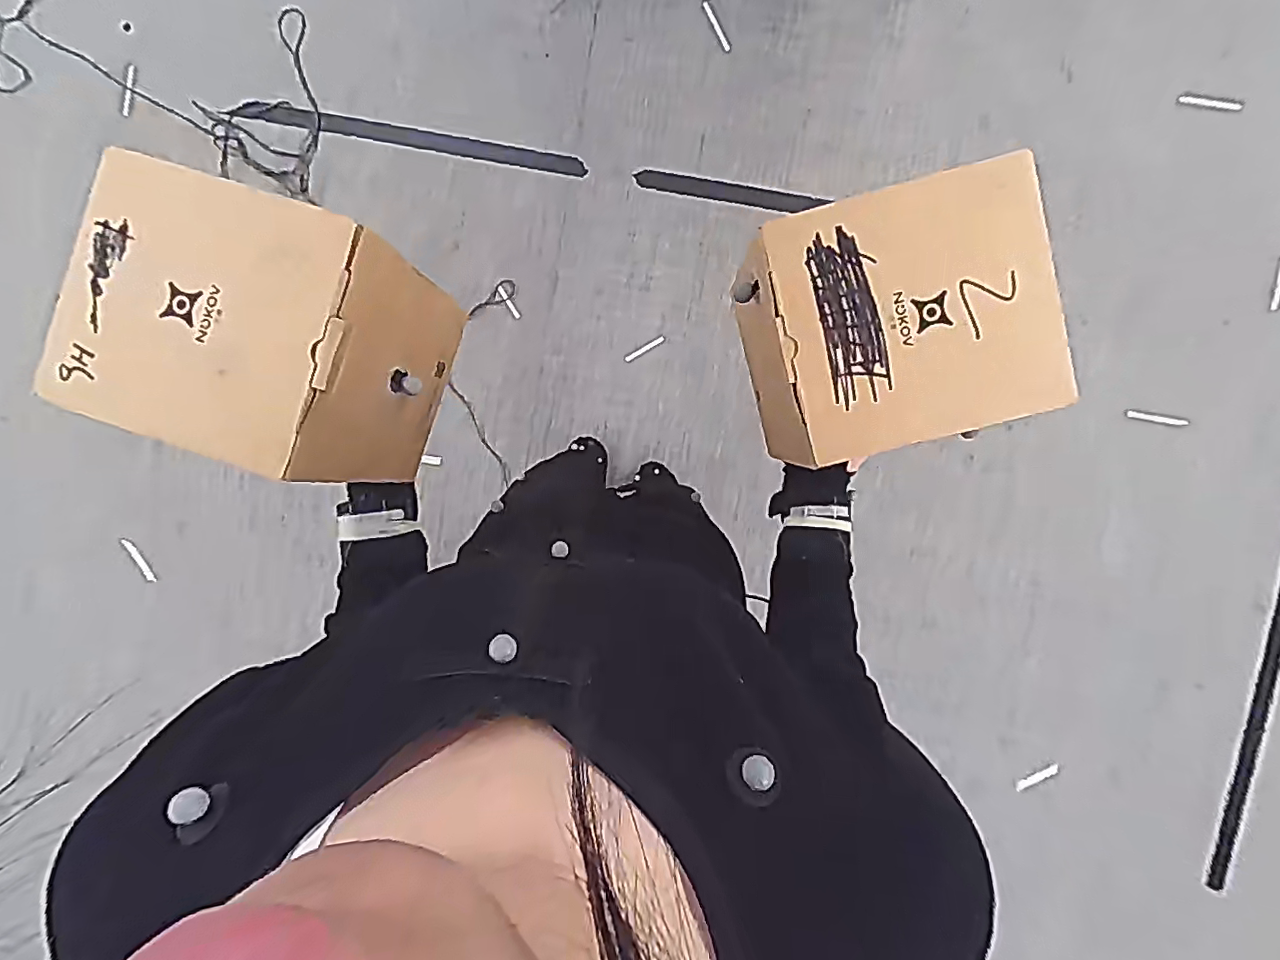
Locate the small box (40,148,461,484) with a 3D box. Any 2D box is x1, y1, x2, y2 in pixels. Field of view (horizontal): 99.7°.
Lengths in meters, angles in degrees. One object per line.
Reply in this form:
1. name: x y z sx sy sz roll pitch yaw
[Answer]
1. small box: -0.262 -0.102 0.410 0.179 0.176 0.168 18 91 2
